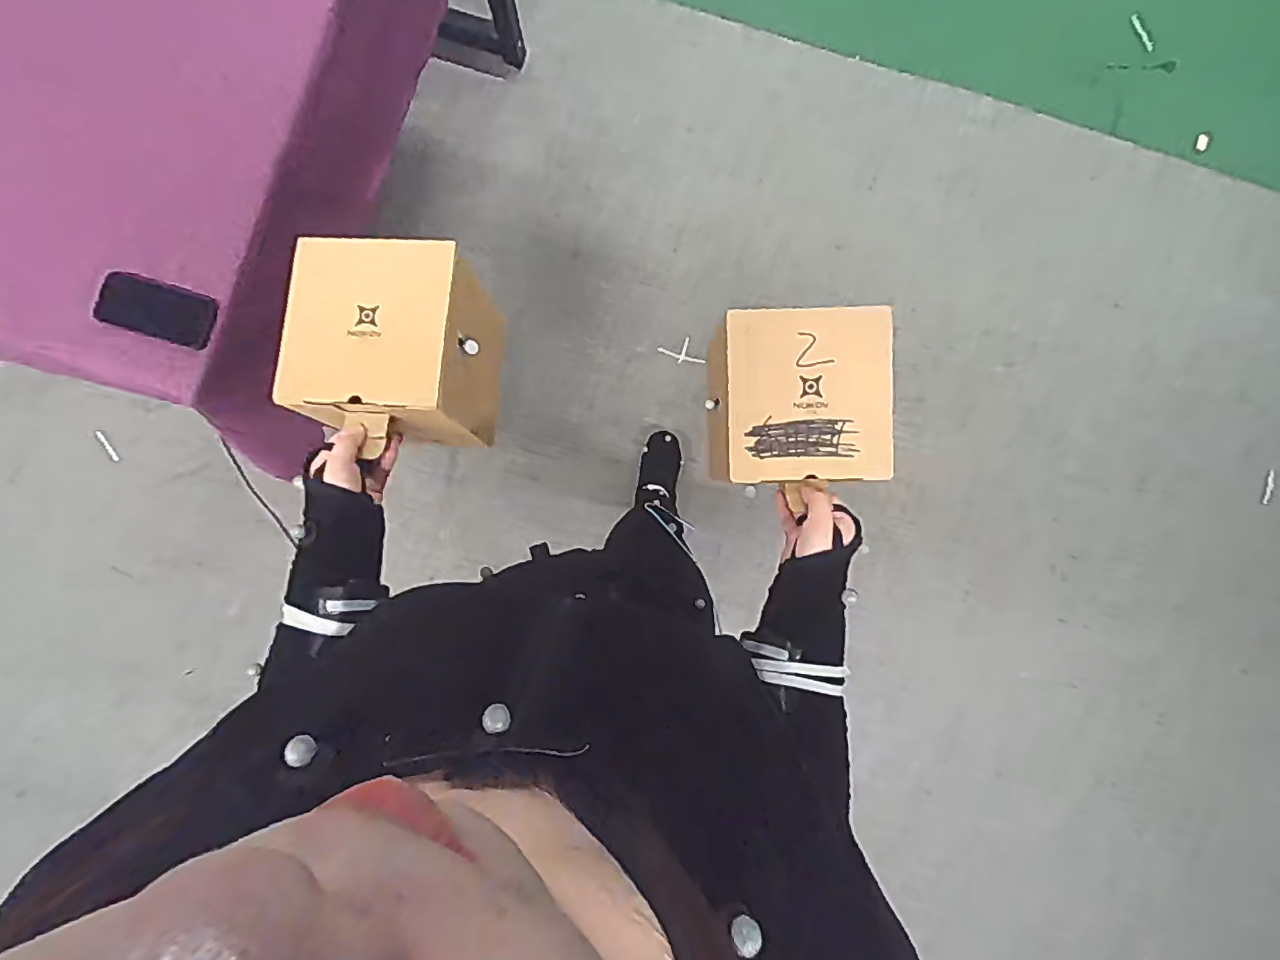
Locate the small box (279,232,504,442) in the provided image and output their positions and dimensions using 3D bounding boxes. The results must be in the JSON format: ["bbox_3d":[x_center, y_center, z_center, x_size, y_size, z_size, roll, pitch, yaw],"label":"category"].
[{"bbox_3d":[-0.260,-0.149,0.609,0.168,0.176,0.179,3,82,3],"label":"small box"}]
